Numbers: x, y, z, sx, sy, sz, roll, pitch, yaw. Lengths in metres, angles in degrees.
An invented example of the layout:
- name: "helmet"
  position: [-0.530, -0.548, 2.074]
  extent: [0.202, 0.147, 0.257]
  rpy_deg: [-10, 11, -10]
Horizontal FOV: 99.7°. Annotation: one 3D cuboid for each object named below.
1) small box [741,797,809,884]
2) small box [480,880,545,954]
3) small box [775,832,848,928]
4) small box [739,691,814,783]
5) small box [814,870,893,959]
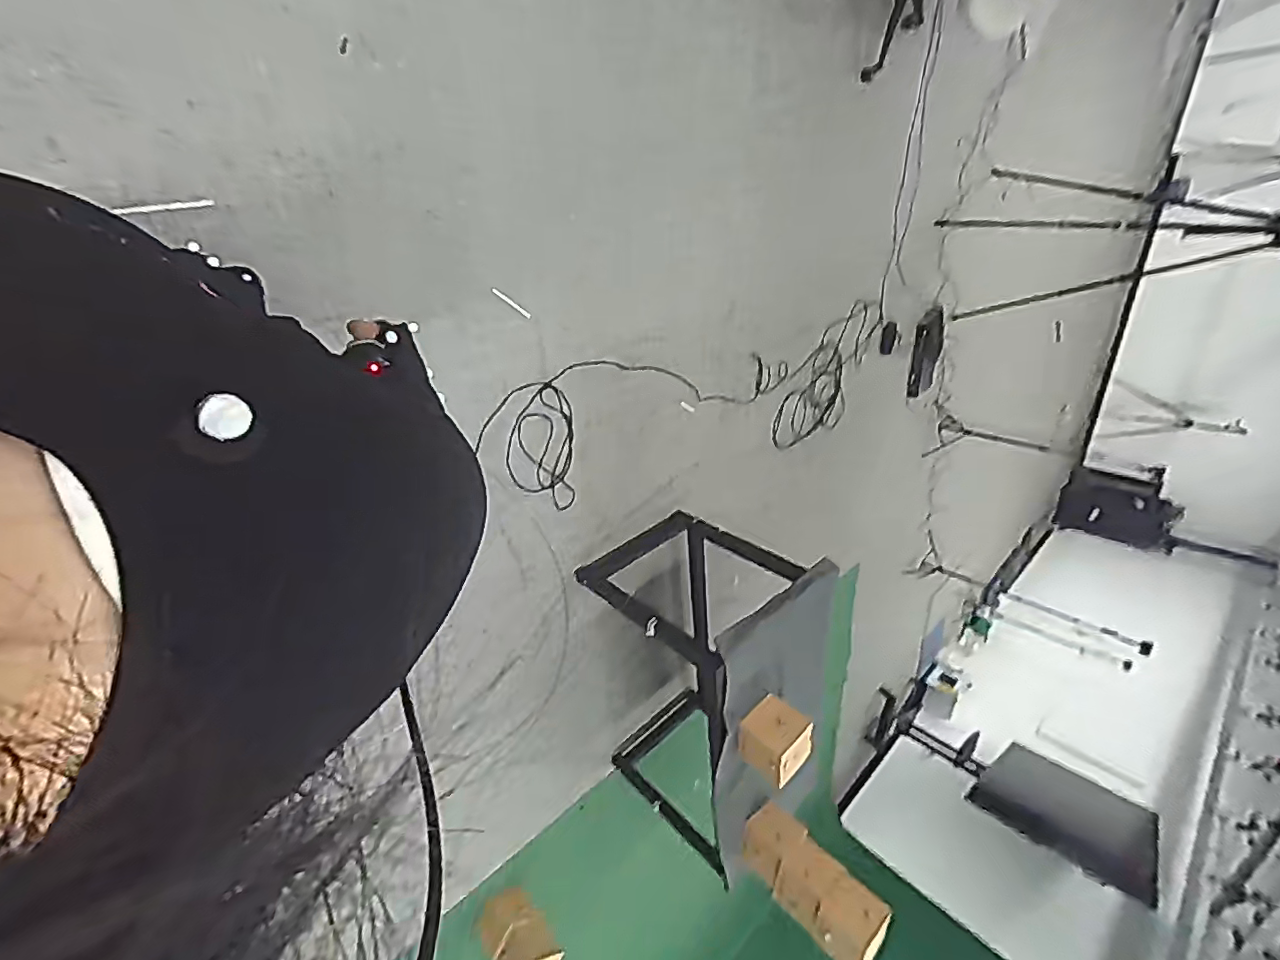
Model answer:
- name: "small box"
  position: [0.502, 1.345, 2.029]
  extent: [0.179, 0.176, 0.168]
  rpy_deg: [-5, 110, -45]
- name: "small box"
  position: [-0.550, 1.856, 2.306]
  extent: [0.179, 0.176, 0.168]
  rpy_deg: [32, 84, -46]
- name: "small box"
  position: [0.605, 1.412, 1.921]
  extent: [0.179, 0.176, 0.168]
  rpy_deg: [-11, 116, -43]
- name: "small box"
  position: [0.444, 0.830, 1.764]
  extent: [0.179, 0.176, 0.168]
  rpy_deg: [-28, 125, -34]
- name: "small box"
  position: [0.711, 1.468, 1.809]
  extent: [0.179, 0.176, 0.168]
  rpy_deg: [-17, 119, -39]
